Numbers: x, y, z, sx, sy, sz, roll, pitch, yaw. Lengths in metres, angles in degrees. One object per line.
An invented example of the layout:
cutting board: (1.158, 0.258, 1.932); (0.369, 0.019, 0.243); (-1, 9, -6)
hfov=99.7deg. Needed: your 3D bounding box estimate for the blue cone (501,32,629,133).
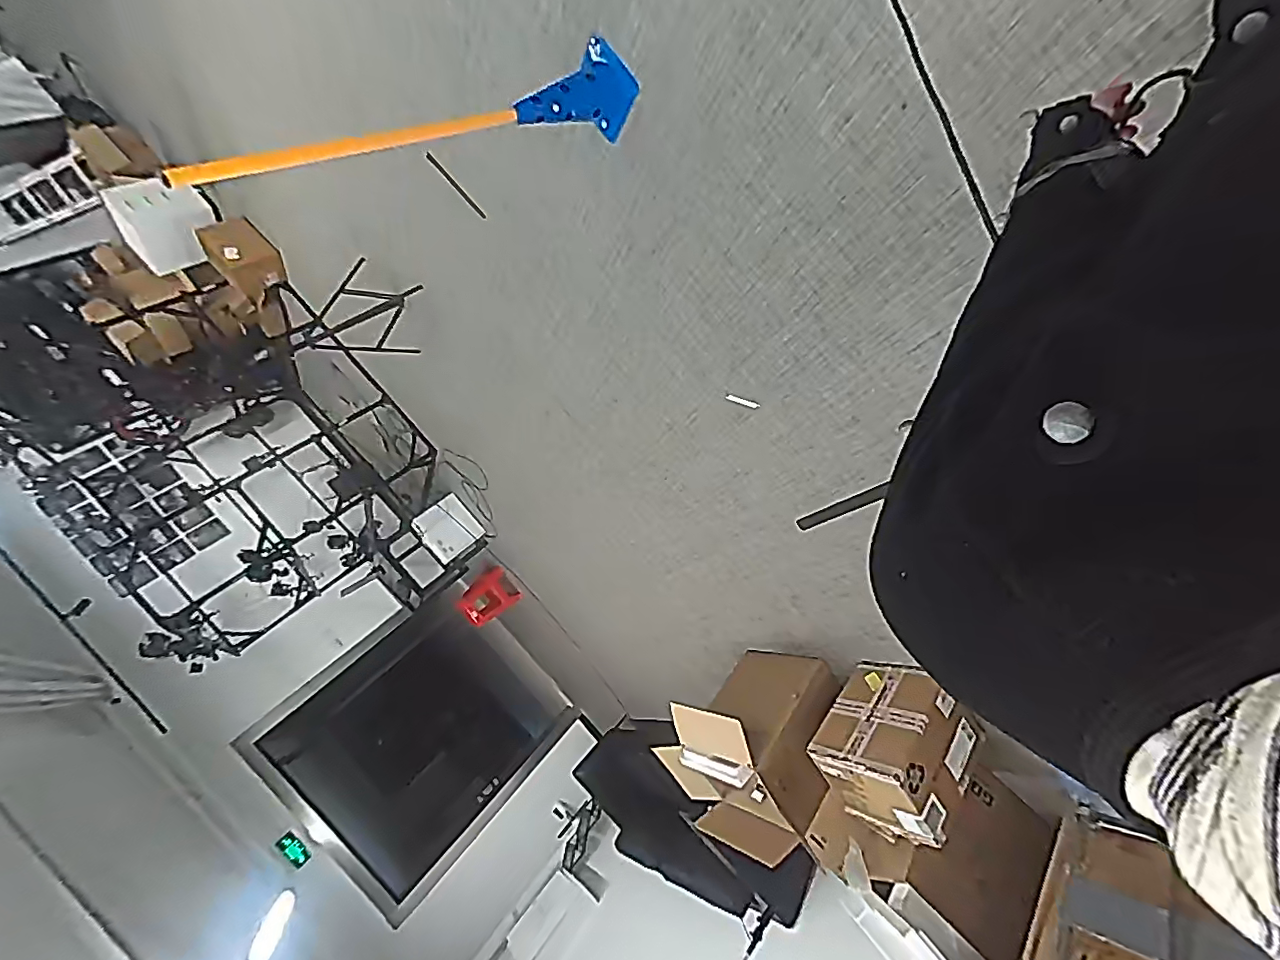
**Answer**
blue cone: (-0.222, -1.057, 1.488); (0.192, 0.380, 0.193); (51, 148, -4)
